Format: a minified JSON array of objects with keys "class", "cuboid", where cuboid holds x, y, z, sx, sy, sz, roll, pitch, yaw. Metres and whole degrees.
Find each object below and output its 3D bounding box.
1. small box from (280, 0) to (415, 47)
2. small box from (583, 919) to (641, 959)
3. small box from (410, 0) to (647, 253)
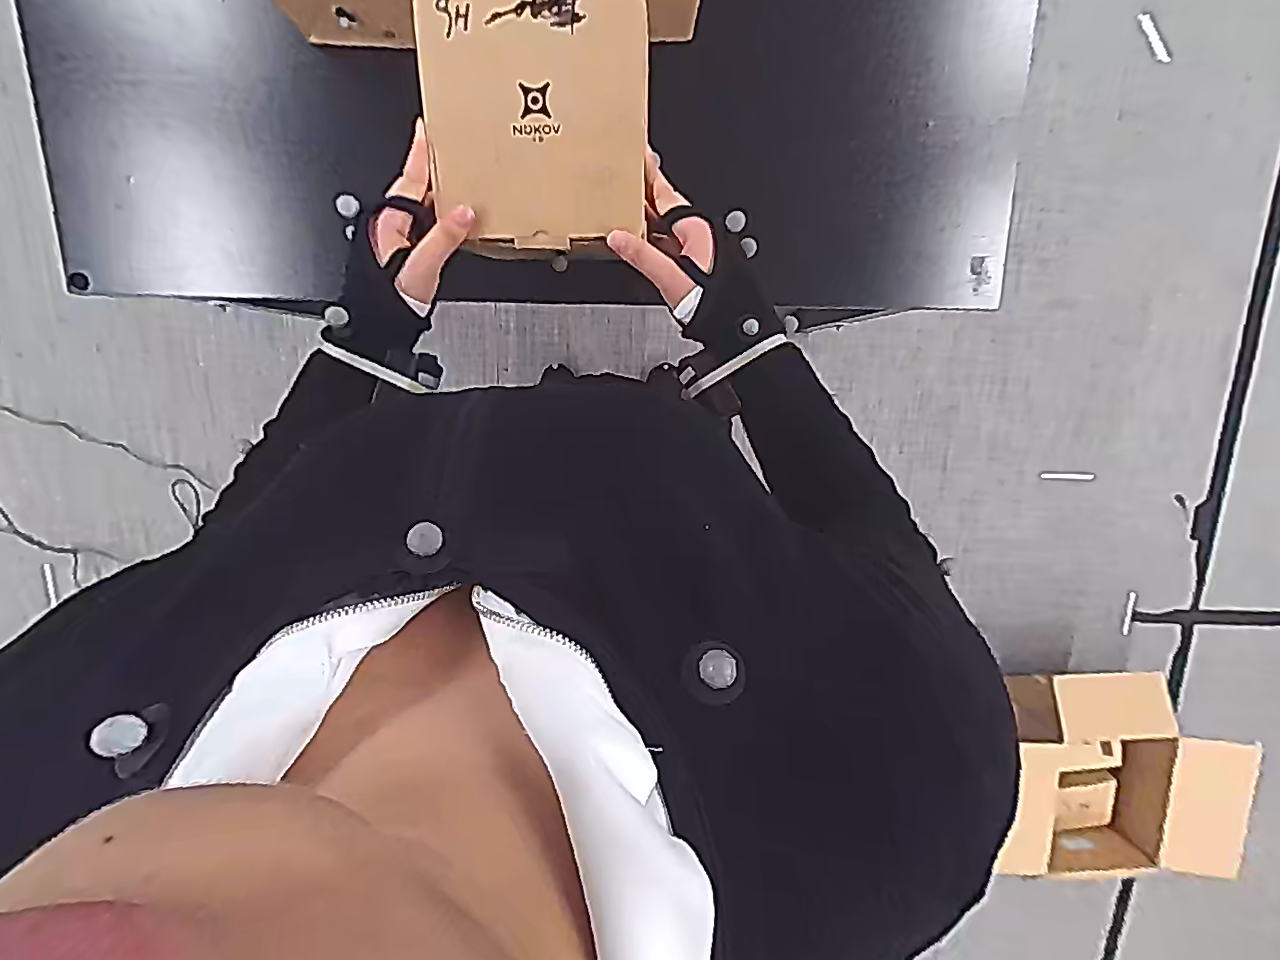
[{"class":"small box","cuboid":[-0.311,-0.591,0.550,0.168,0.176,0.179,1,102,-2]},{"class":"small box","cuboid":[-0.088,1.504,1.668,0.179,0.176,0.168,3,99,-1]},{"class":"small box","cuboid":[-0.079,-0.299,0.480,0.168,0.176,0.179,0,109,2]}]
